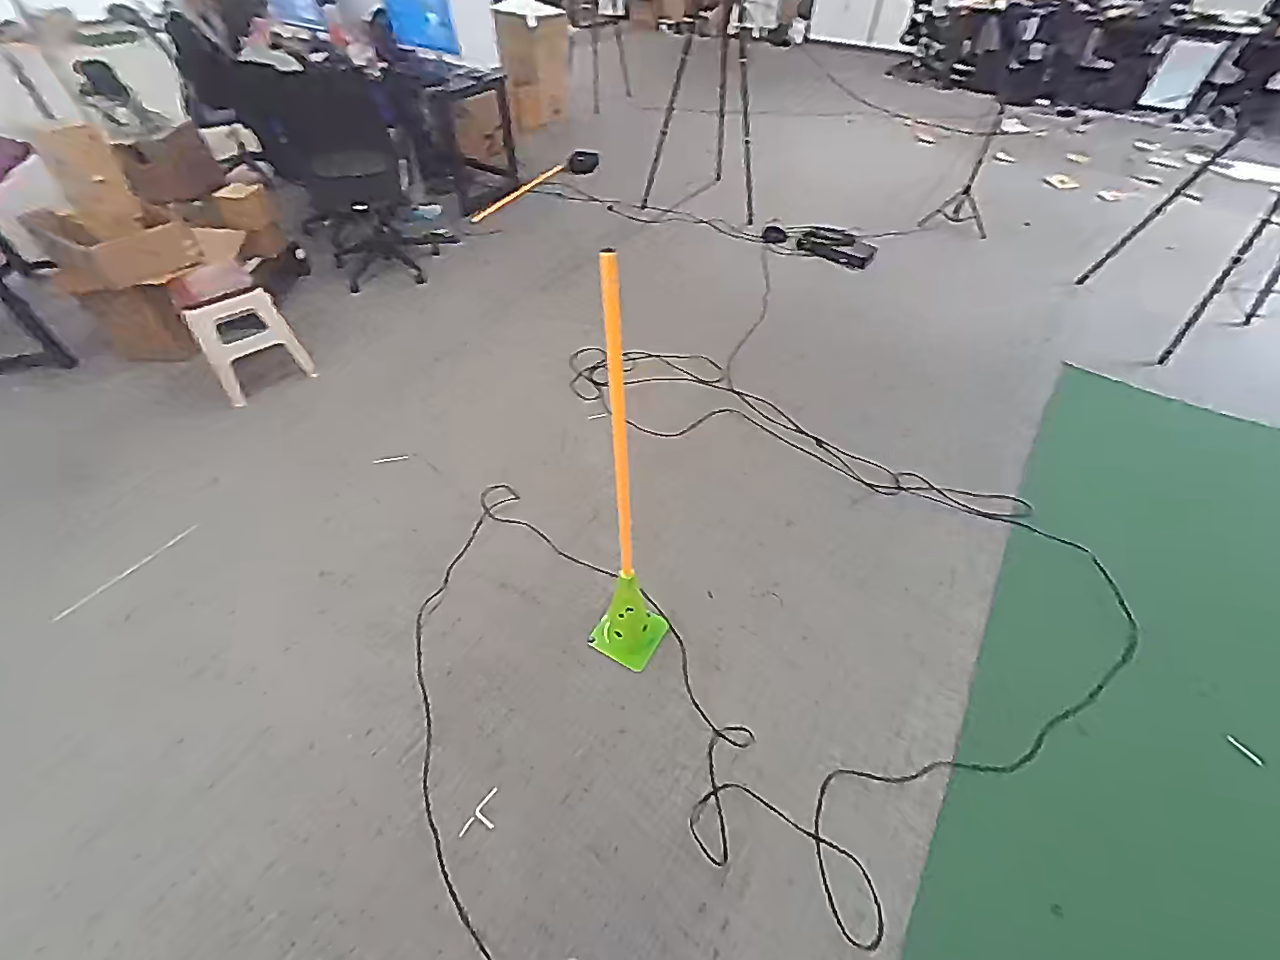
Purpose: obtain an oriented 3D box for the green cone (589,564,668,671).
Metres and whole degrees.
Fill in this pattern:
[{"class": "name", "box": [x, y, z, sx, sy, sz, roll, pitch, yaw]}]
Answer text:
[{"class": "green cone", "box": [-0.031, 0.370, 1.592, 0.200, 0.368, 0.202, 24, 51, 19]}]
